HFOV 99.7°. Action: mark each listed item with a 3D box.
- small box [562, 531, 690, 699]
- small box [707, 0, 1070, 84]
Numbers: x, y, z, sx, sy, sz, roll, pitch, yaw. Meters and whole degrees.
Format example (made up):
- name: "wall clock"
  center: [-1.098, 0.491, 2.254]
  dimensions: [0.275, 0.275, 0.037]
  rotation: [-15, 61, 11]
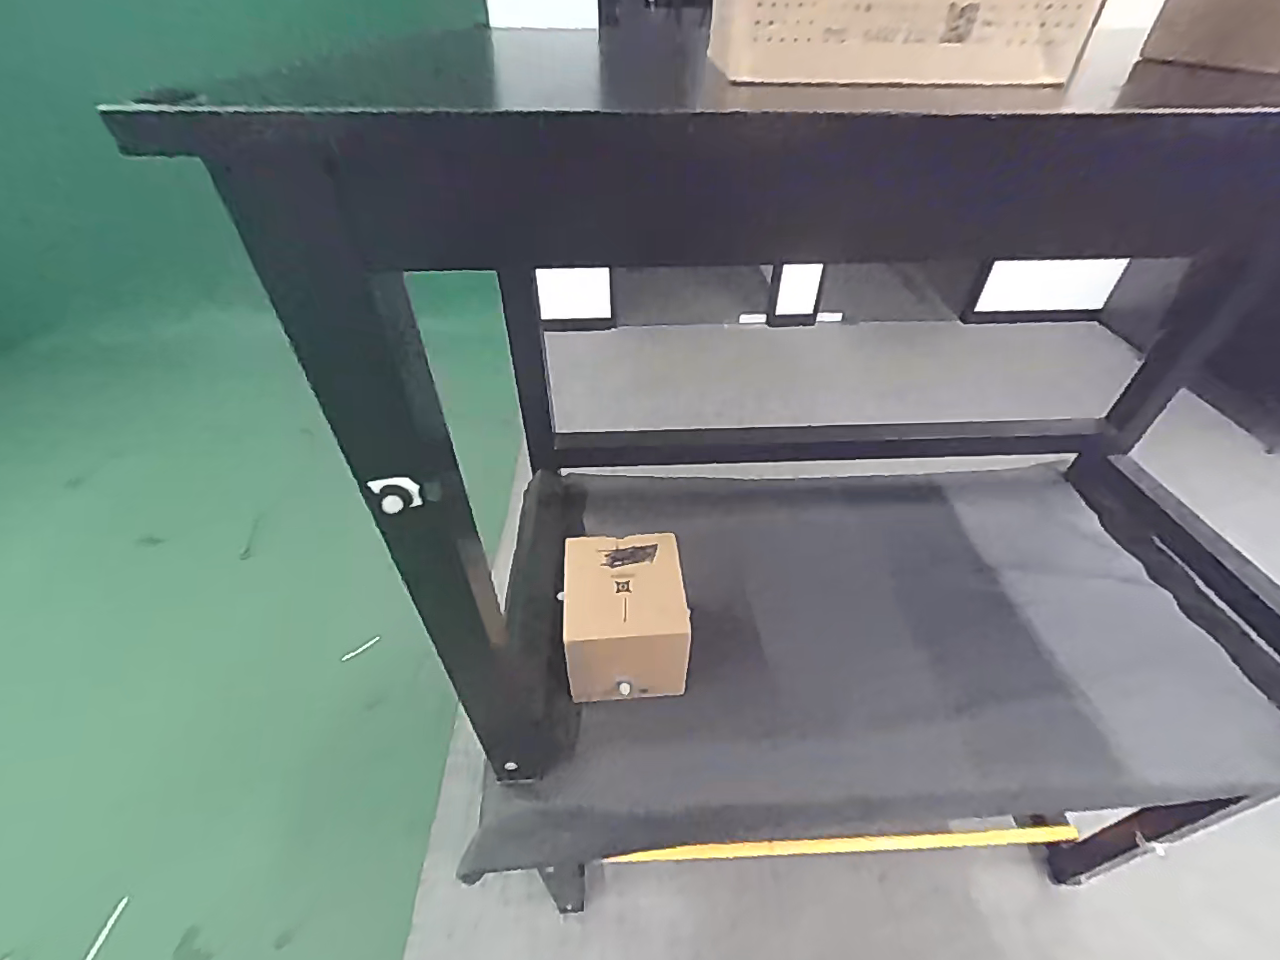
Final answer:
- name: "small box"
  center: [-0.024, 0.197, 0.799]
  dimensions: [0.168, 0.176, 0.179]
  rotation: [-3, 42, -4]
- name: "small box"
  center: [0.126, -0.316, 0.280]
  dimensions: [0.168, 0.176, 0.179]
  rotation: [1, 41, 1]
